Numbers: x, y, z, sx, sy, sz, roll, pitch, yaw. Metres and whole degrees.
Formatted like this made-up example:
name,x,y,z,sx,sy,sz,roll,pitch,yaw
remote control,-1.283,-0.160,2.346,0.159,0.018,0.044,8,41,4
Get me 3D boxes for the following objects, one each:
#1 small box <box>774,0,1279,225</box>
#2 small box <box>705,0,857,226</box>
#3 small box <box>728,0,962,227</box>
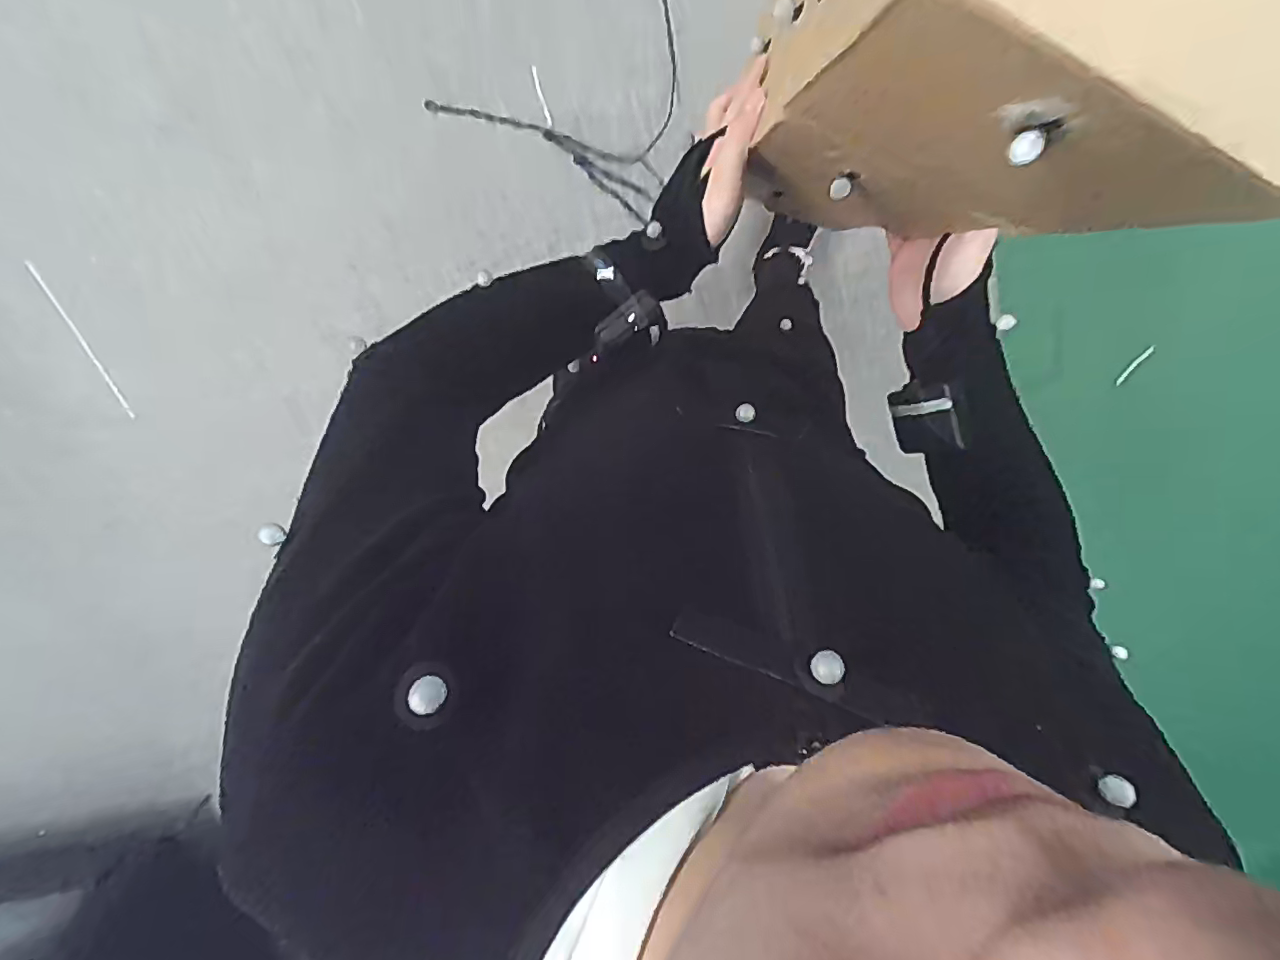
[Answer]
name,x,y,z,sx,sy,sz,roll,pitch,yaw
small box,0.177,-0.214,0.208,0.179,0.176,0.168,23,110,-11
small box,0.169,-0.355,0.505,0.168,0.176,0.179,18,111,-8
small box,0.175,-0.282,0.357,0.179,0.176,0.168,20,110,-9
